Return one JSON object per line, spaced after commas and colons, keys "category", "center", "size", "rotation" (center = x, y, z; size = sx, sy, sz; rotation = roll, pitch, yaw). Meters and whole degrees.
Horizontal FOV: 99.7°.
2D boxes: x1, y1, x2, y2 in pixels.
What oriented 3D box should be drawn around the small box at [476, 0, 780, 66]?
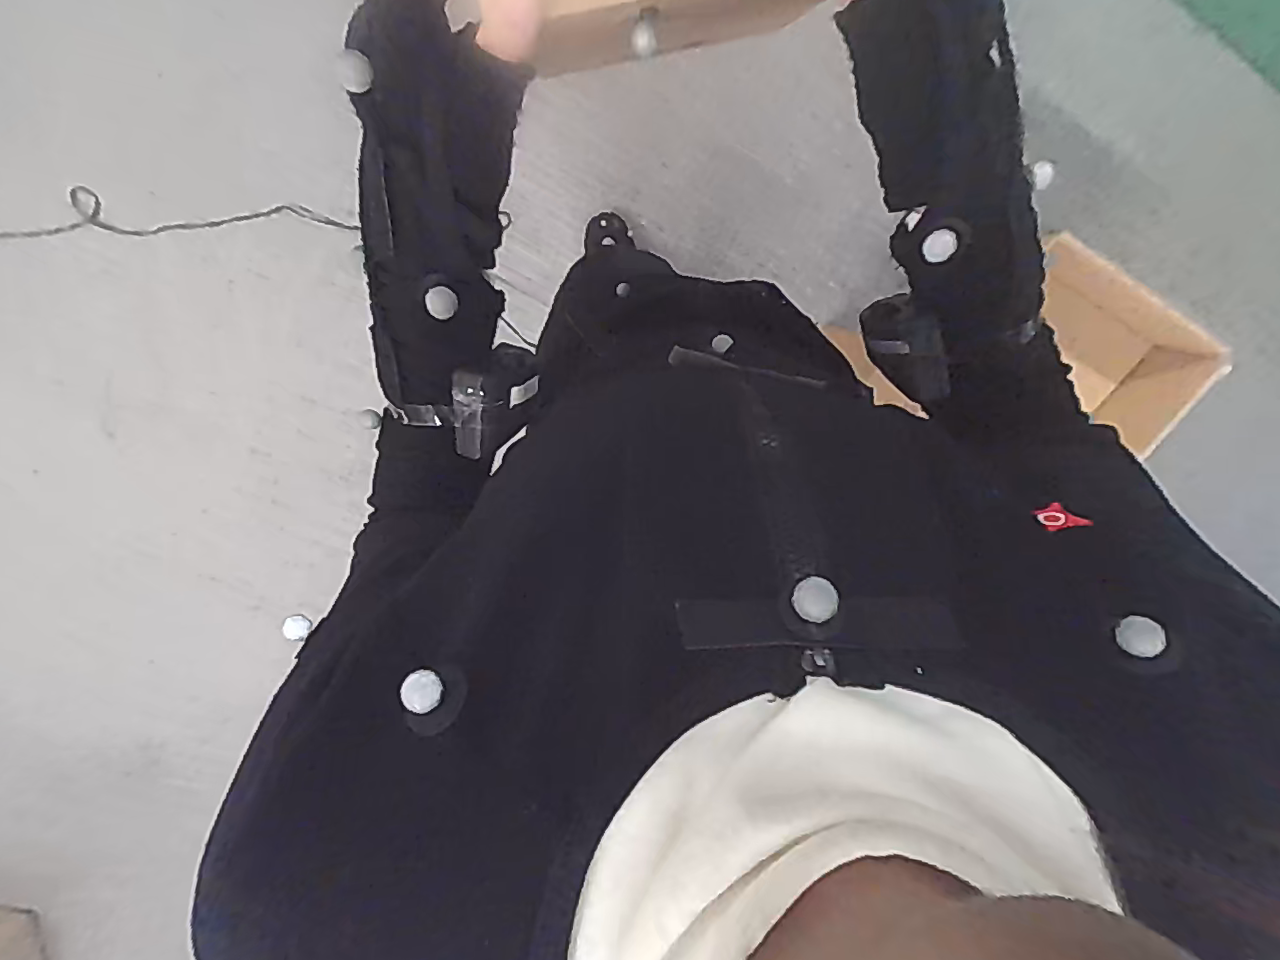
{"category": "small box", "center": [-0.008, -0.313, 0.236], "size": [0.168, 0.176, 0.179], "rotation": [-10, 121, 2]}
